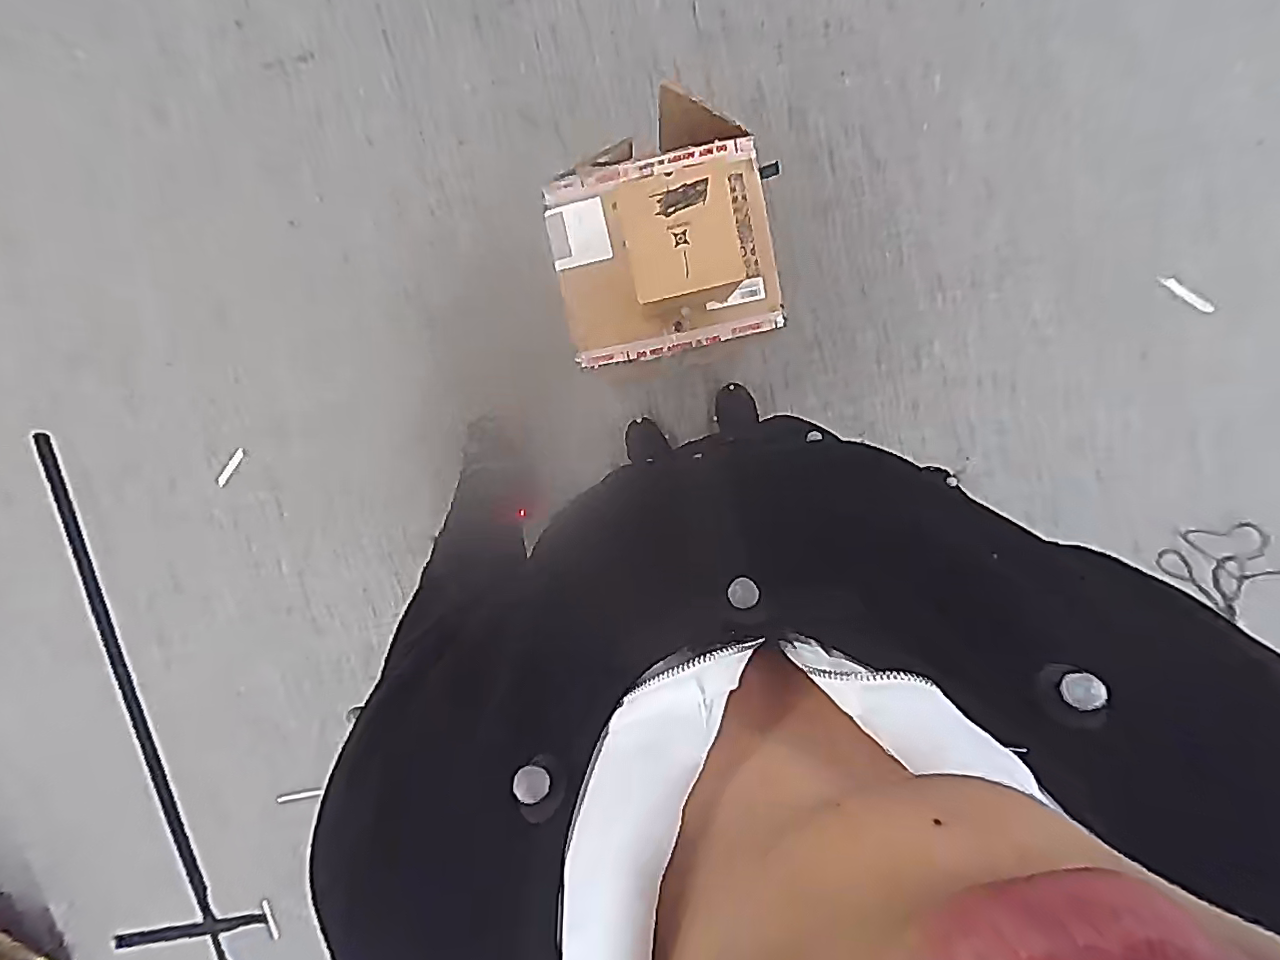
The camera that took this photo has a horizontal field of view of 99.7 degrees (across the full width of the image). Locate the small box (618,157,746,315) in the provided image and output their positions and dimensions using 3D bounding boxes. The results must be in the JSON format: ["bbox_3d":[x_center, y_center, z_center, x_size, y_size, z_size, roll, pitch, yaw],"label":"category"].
[{"bbox_3d":[0.063,-0.382,0.878,0.168,0.176,0.179,-12,100,4],"label":"small box"}]
